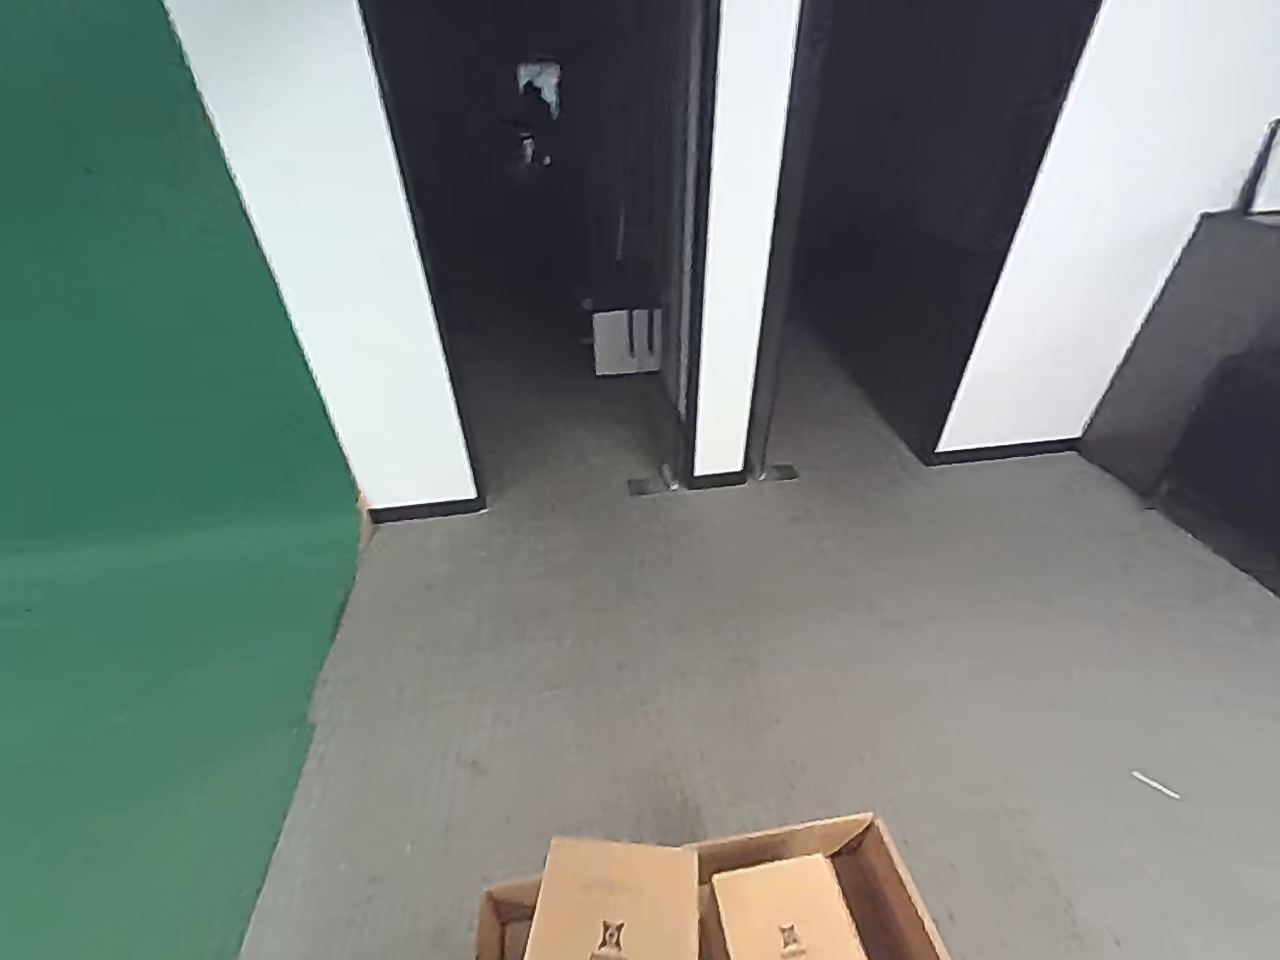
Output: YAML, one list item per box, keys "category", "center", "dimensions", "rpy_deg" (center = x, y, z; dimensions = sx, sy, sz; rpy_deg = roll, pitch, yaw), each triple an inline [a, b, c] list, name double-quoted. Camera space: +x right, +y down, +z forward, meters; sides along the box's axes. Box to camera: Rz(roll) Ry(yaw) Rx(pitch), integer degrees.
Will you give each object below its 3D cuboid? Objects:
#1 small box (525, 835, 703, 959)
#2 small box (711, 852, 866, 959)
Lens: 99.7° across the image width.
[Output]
- category: "small box"
  center: [-0.020, 0.513, 0.567]
  dimensions: [0.168, 0.176, 0.179]
  rpy_deg: [1, 34, 9]
- category: "small box"
  center: [0.200, 0.656, 0.745]
  dimensions: [0.168, 0.176, 0.179]
  rpy_deg: [-7, 38, -6]
